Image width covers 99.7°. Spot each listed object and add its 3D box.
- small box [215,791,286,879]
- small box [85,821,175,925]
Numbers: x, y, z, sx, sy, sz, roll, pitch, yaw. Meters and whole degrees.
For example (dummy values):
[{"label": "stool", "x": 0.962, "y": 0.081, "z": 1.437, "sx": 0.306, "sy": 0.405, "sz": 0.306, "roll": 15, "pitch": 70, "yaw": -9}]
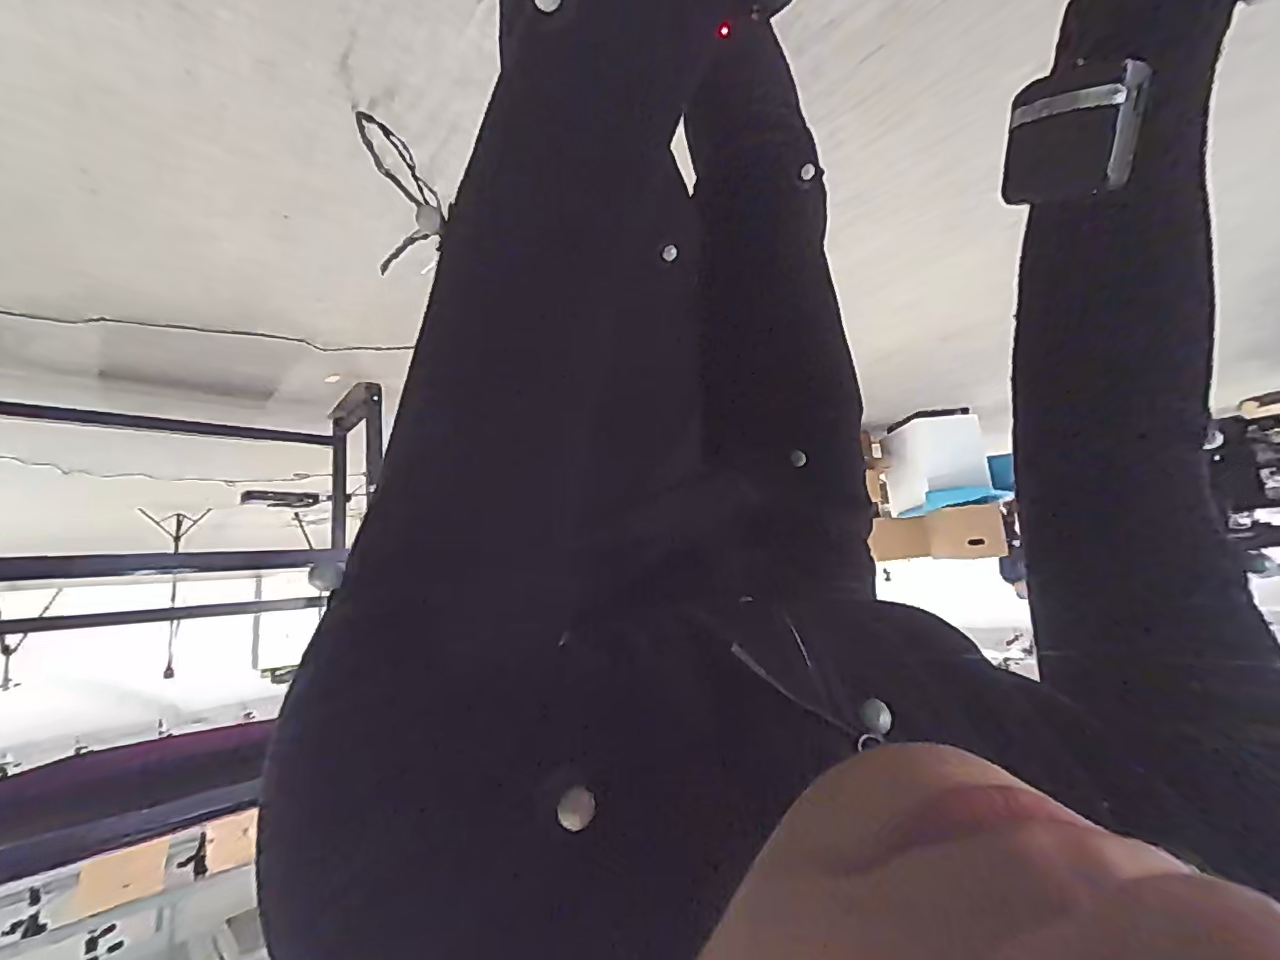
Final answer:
[{"label": "small box", "x": -1.254, "y": 1.132, "z": 1.742, "sx": 0.168, "sy": 0.176, "sz": 0.179, "roll": 6, "pitch": 166, "yaw": -42}, {"label": "small box", "x": -1.460, "y": 1.111, "z": 1.550, "sx": 0.179, "sy": 0.176, "sz": 0.168, "roll": 4, "pitch": 167, "yaw": -44}]
